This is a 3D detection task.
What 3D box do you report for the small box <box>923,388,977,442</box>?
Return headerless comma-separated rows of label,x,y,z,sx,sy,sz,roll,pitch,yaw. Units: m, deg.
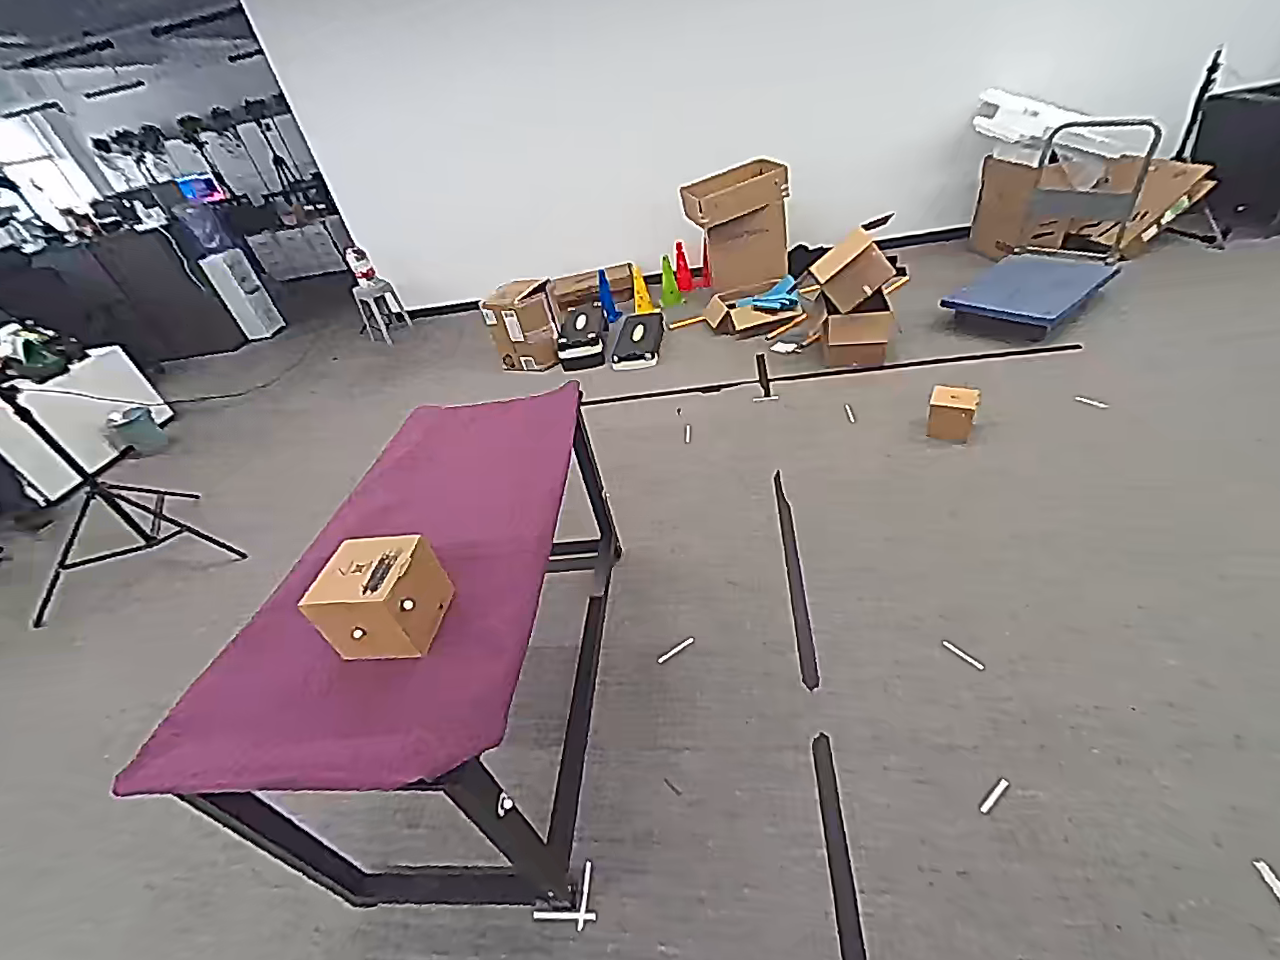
small box,1.373,-0.288,2.400,0.179,0.176,0.168,13,43,29
